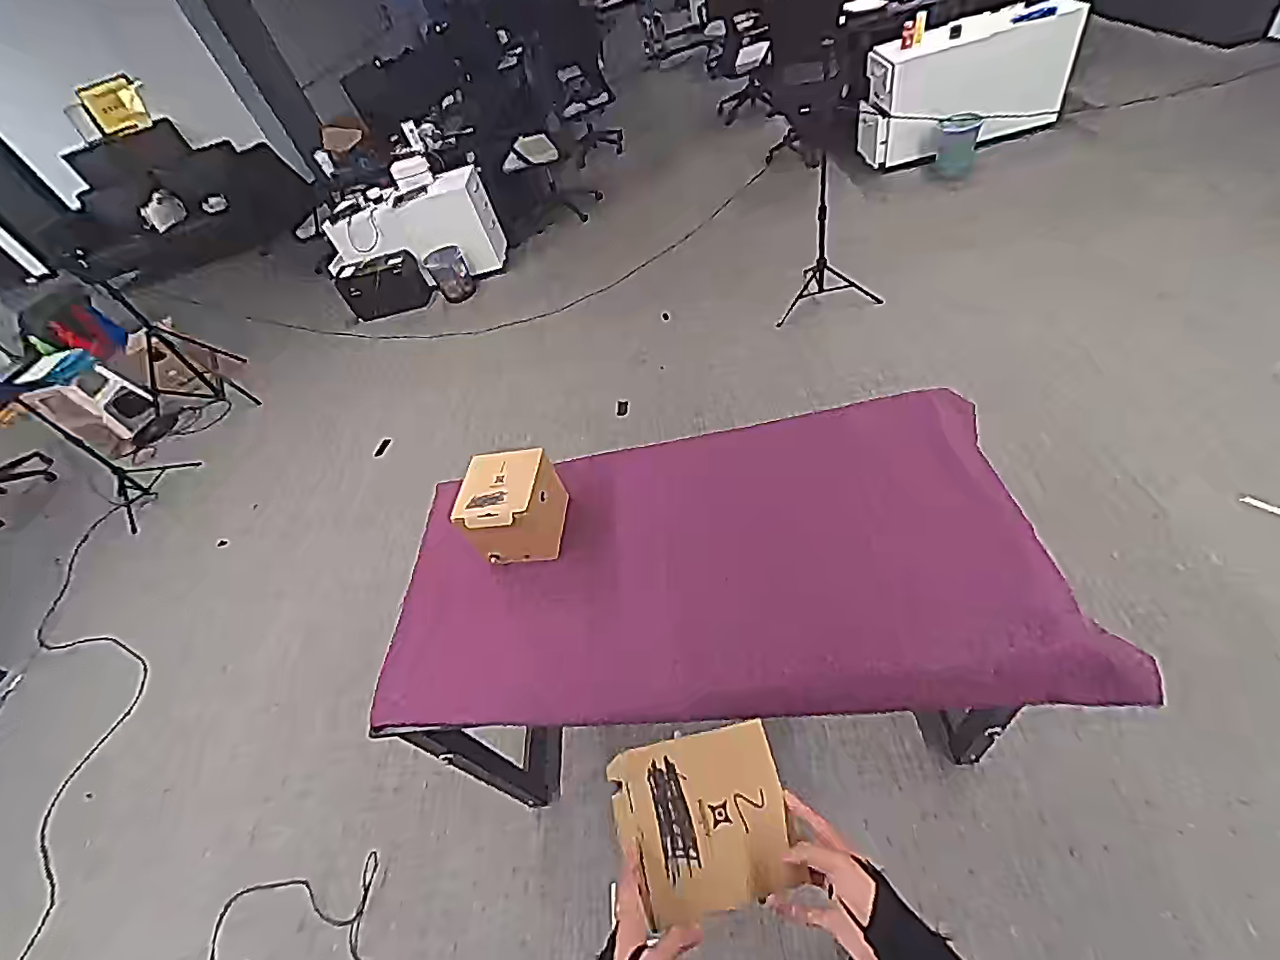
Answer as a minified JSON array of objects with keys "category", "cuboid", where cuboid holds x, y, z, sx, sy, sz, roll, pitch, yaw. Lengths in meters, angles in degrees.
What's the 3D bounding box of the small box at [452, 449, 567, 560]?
[{"category":"small box","cuboid":[-0.266,0.059,1.151,0.168,0.176,0.179,-6,49,12]}]
